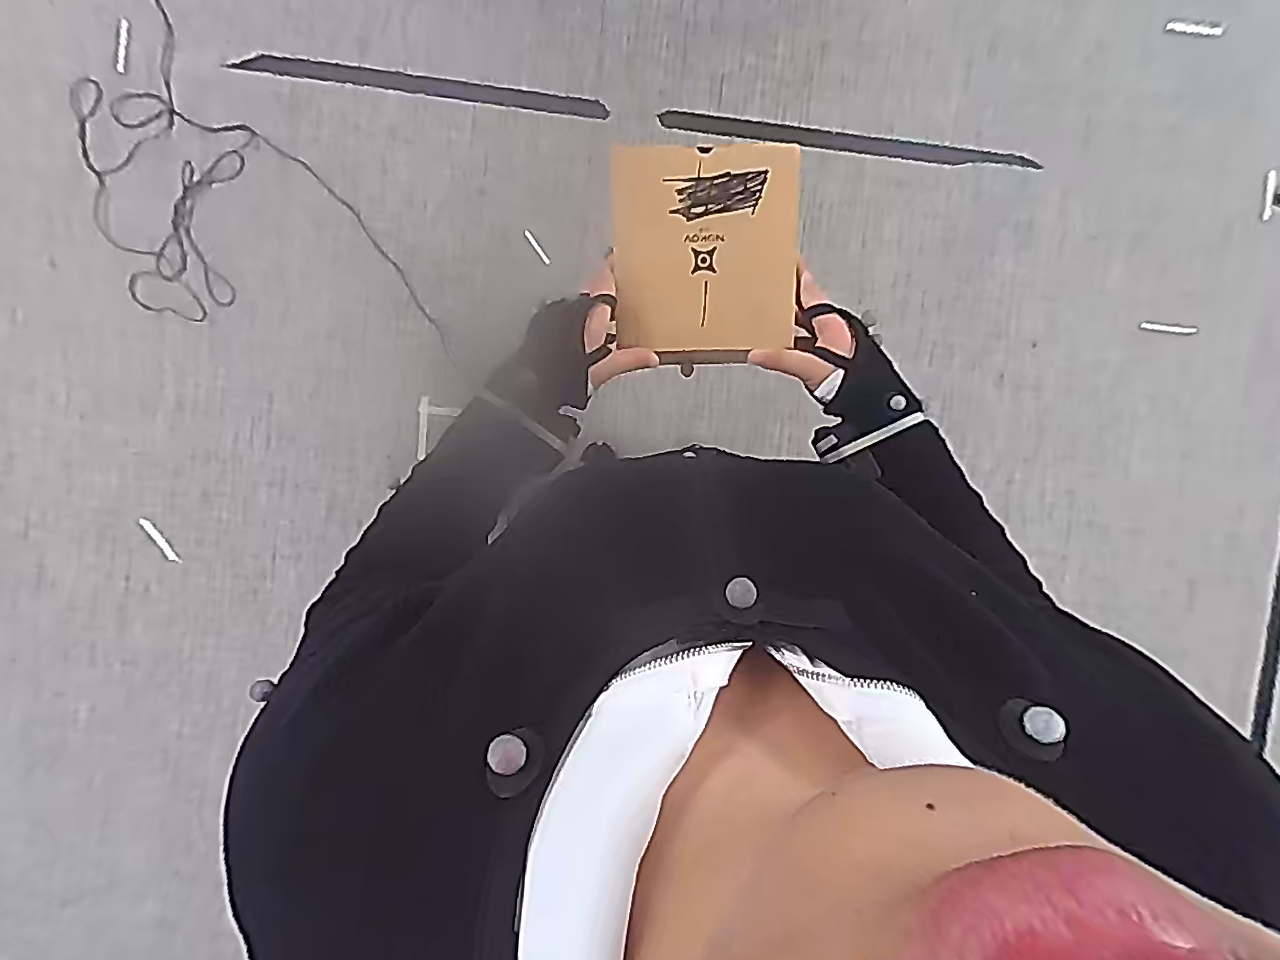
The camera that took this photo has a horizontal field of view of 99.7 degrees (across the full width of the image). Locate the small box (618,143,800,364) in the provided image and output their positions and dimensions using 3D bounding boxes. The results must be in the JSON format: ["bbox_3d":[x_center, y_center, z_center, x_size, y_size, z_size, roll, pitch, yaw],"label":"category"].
[{"bbox_3d":[0.061,-0.219,0.565,0.168,0.176,0.179,-1,98,0],"label":"small box"}]
